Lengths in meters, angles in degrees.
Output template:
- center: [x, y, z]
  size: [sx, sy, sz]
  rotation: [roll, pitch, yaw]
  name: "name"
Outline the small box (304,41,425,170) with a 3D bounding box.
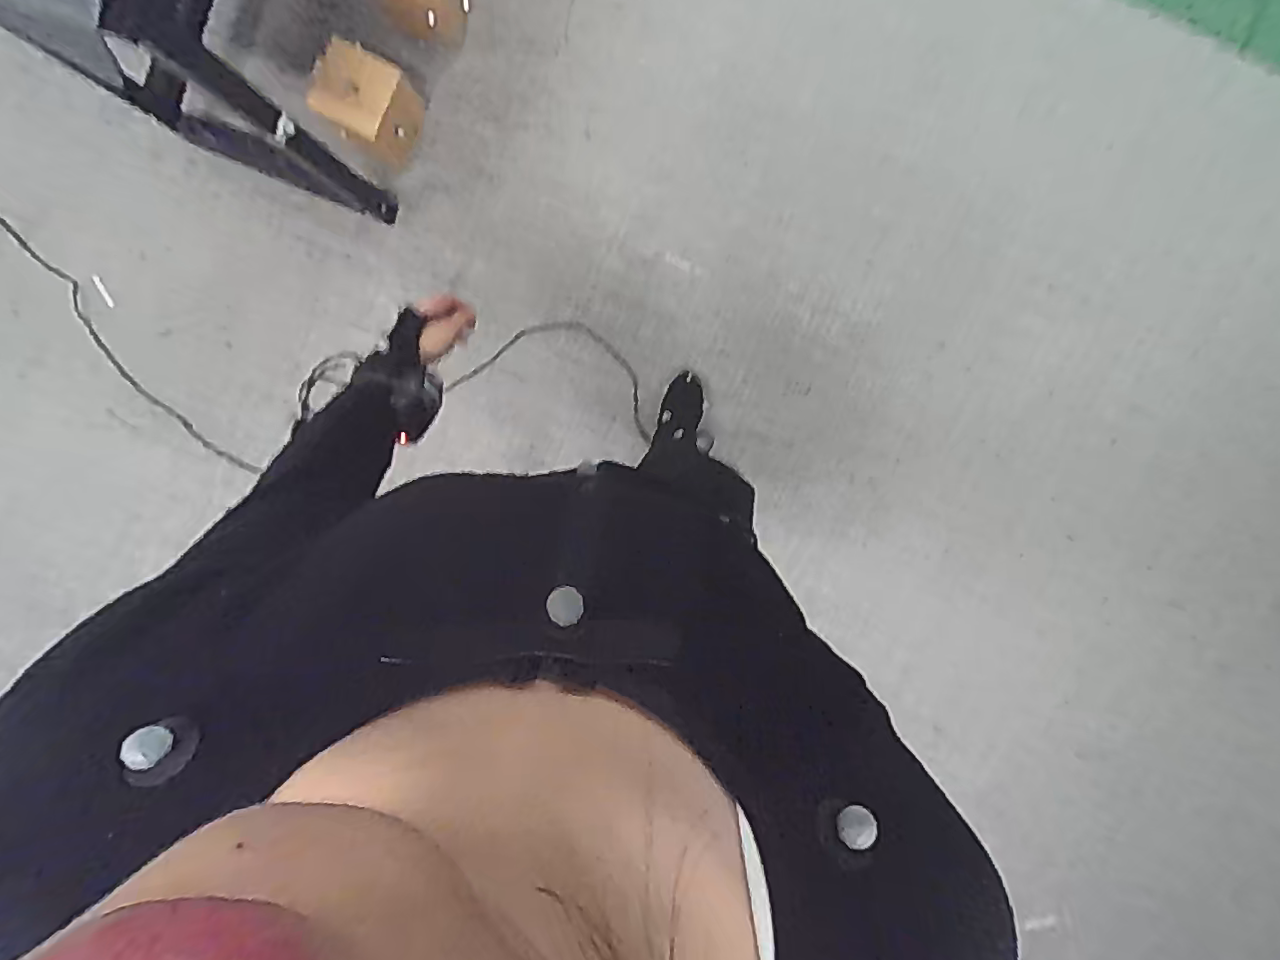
- center: [-0.653, -0.888, 1.305]
  size: [0.179, 0.176, 0.168]
  rotation: [27, 96, -2]
  name: "small box"
